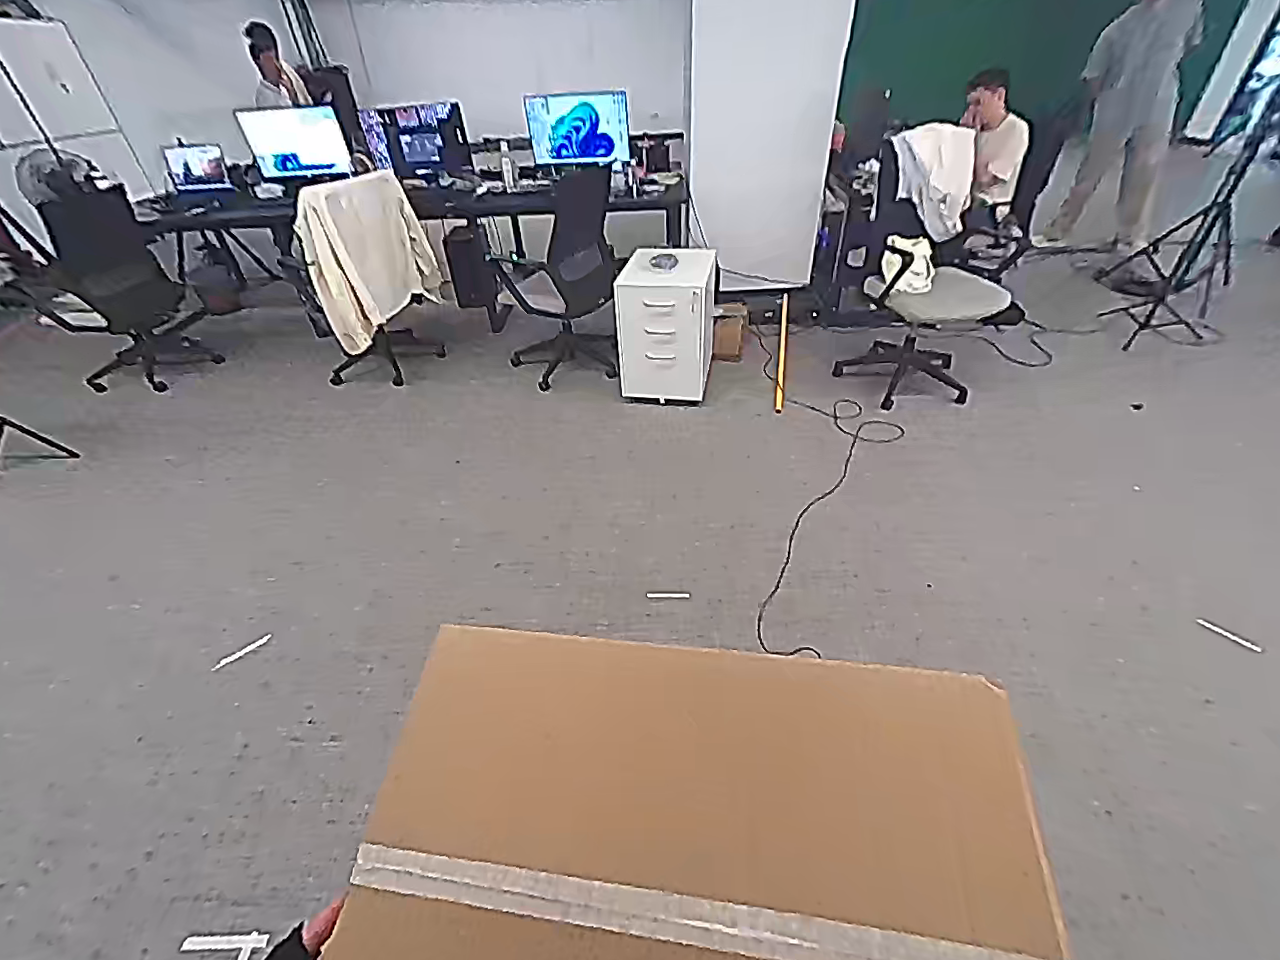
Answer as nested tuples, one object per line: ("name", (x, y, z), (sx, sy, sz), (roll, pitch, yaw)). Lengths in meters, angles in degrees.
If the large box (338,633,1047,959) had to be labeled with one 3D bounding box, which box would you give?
("large box", (0.038, 0.341, 0.437), (0.408, 0.320, 0.320), (2, 55, 10))
